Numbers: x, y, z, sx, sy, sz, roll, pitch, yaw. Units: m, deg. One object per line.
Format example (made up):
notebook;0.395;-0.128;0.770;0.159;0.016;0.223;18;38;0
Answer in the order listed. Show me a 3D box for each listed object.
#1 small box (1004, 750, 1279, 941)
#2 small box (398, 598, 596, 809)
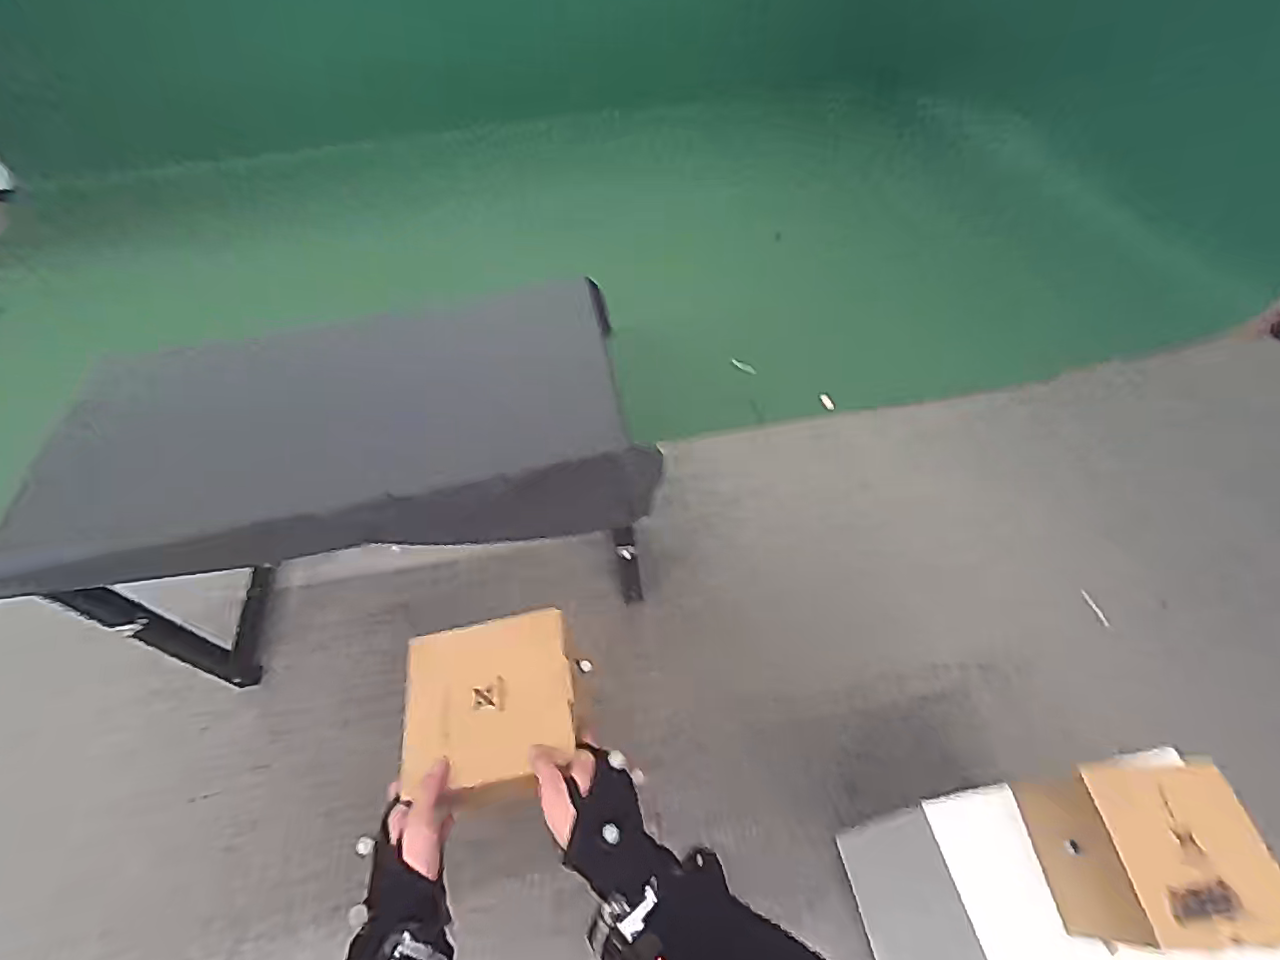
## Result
small box;0.607;0.451;0.675;0.168;0.176;0.179;-3;53;-1
small box;-0.151;0.259;0.619;0.179;0.176;0.168;-13;53;-3
